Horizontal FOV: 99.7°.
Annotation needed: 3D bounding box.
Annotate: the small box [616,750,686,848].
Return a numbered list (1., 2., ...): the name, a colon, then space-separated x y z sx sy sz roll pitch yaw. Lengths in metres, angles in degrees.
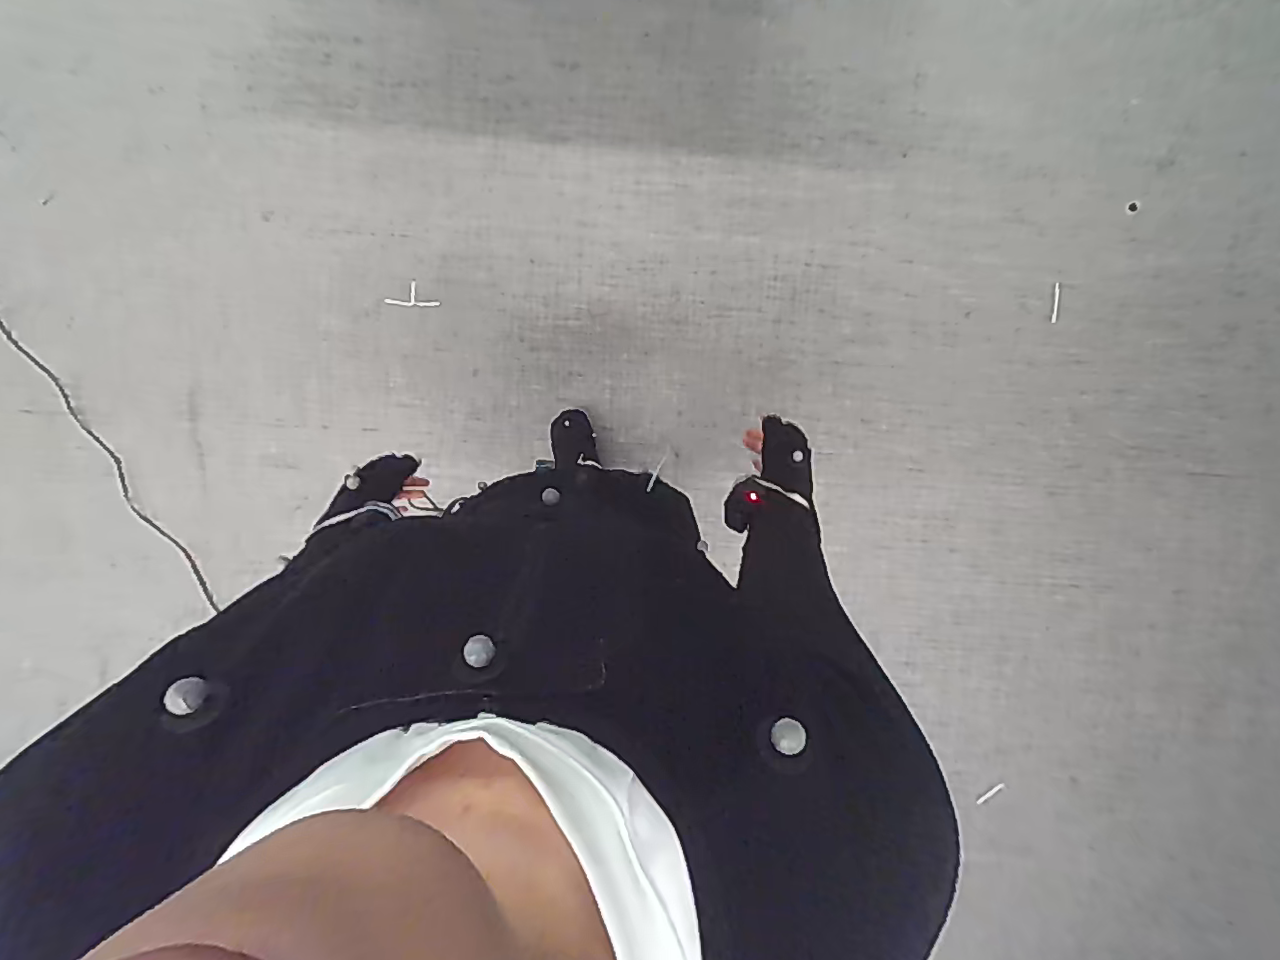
1. small box: 0.025 0.871 1.470 0.168 0.176 0.179 6 94 -4

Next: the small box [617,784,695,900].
1. small box: 0.032 0.864 1.304 0.168 0.176 0.179 3 94 -4
